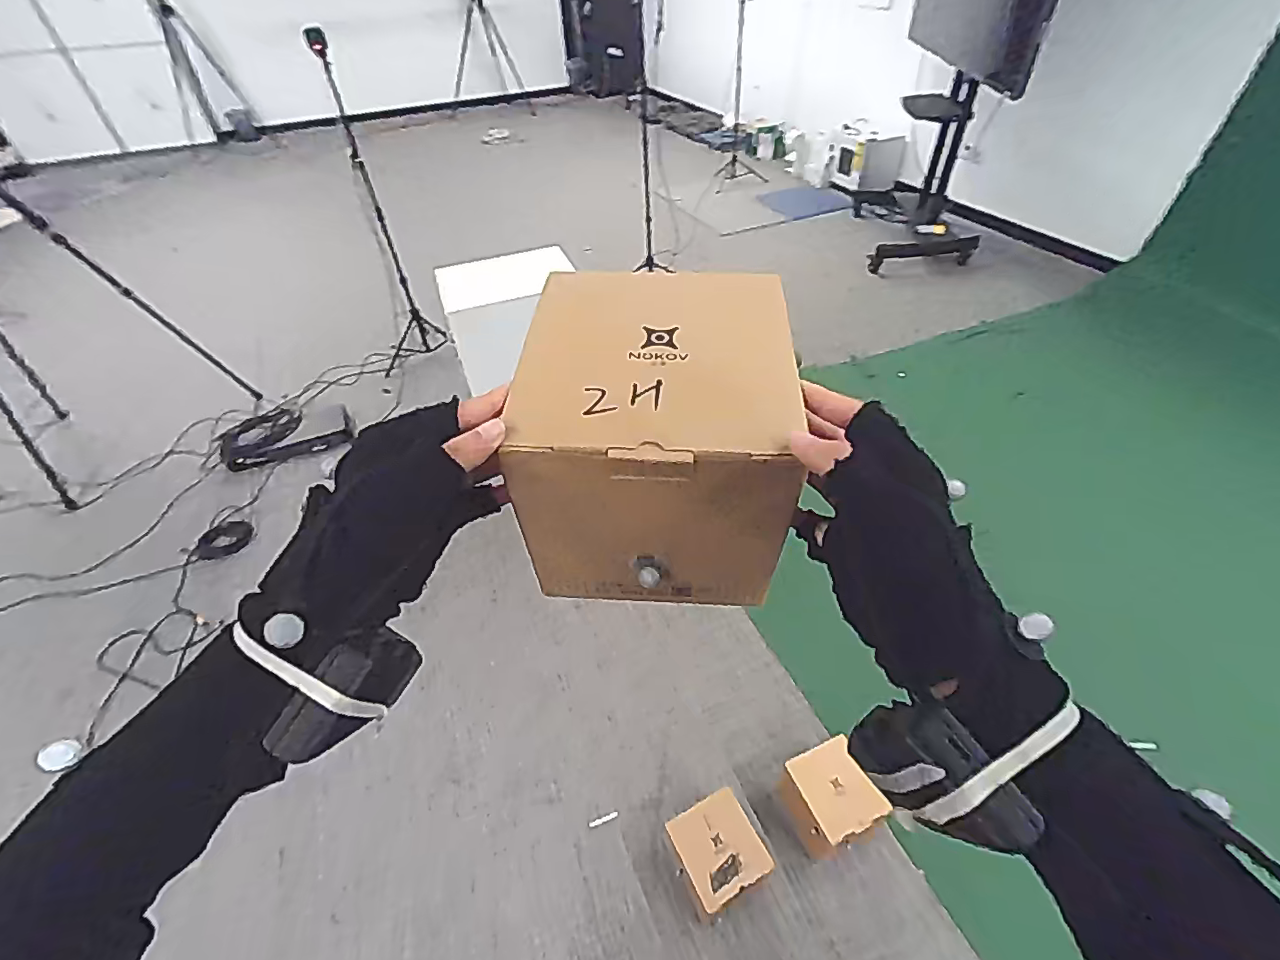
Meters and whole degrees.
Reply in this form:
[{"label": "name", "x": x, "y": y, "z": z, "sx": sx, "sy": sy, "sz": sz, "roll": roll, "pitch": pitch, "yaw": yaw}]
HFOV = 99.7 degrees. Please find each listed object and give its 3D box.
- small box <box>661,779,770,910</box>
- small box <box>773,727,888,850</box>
[{"label": "small box", "x": 0.159, "y": 0.800, "z": 1.180, "sx": 0.168, "sy": 0.176, "sz": 0.179, "roll": -21, "pitch": 47, "yaw": -18}, {"label": "small box", "x": 0.430, "y": 0.716, "z": 1.255, "sx": 0.168, "sy": 0.176, "sz": 0.179, "roll": -19, "pitch": 48, "yaw": -15}]
